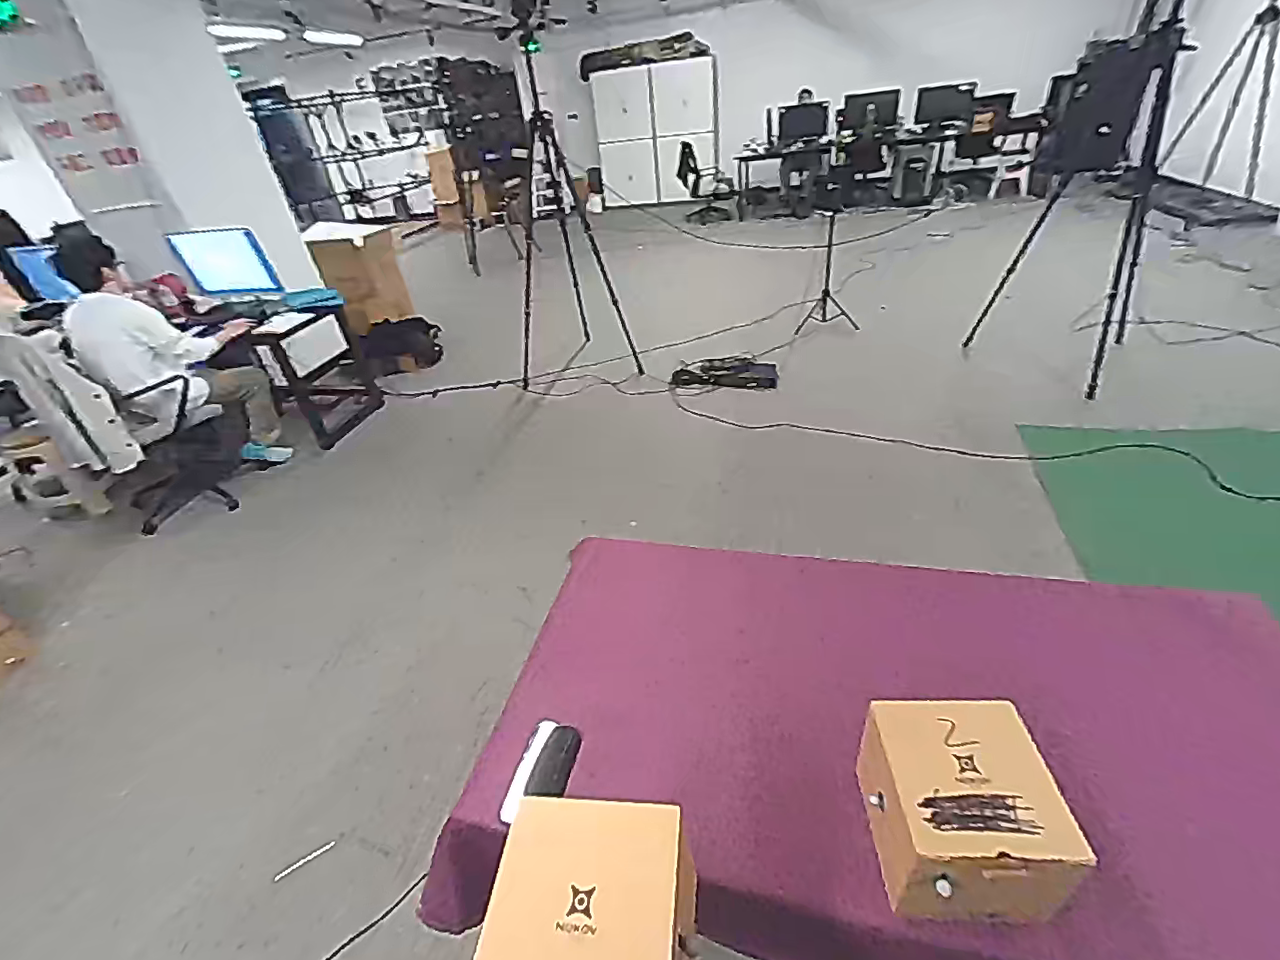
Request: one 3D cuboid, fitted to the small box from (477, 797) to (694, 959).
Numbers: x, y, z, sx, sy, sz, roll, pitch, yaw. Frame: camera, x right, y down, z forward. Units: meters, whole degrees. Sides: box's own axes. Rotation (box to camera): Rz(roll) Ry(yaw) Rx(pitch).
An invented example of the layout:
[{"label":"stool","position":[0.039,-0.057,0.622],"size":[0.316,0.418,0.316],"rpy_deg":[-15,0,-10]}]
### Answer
[{"label":"small box","position":[-0.039,0.436,0.514],"size":[0.168,0.176,0.179],"rpy_deg":[-2,37,11]}]
